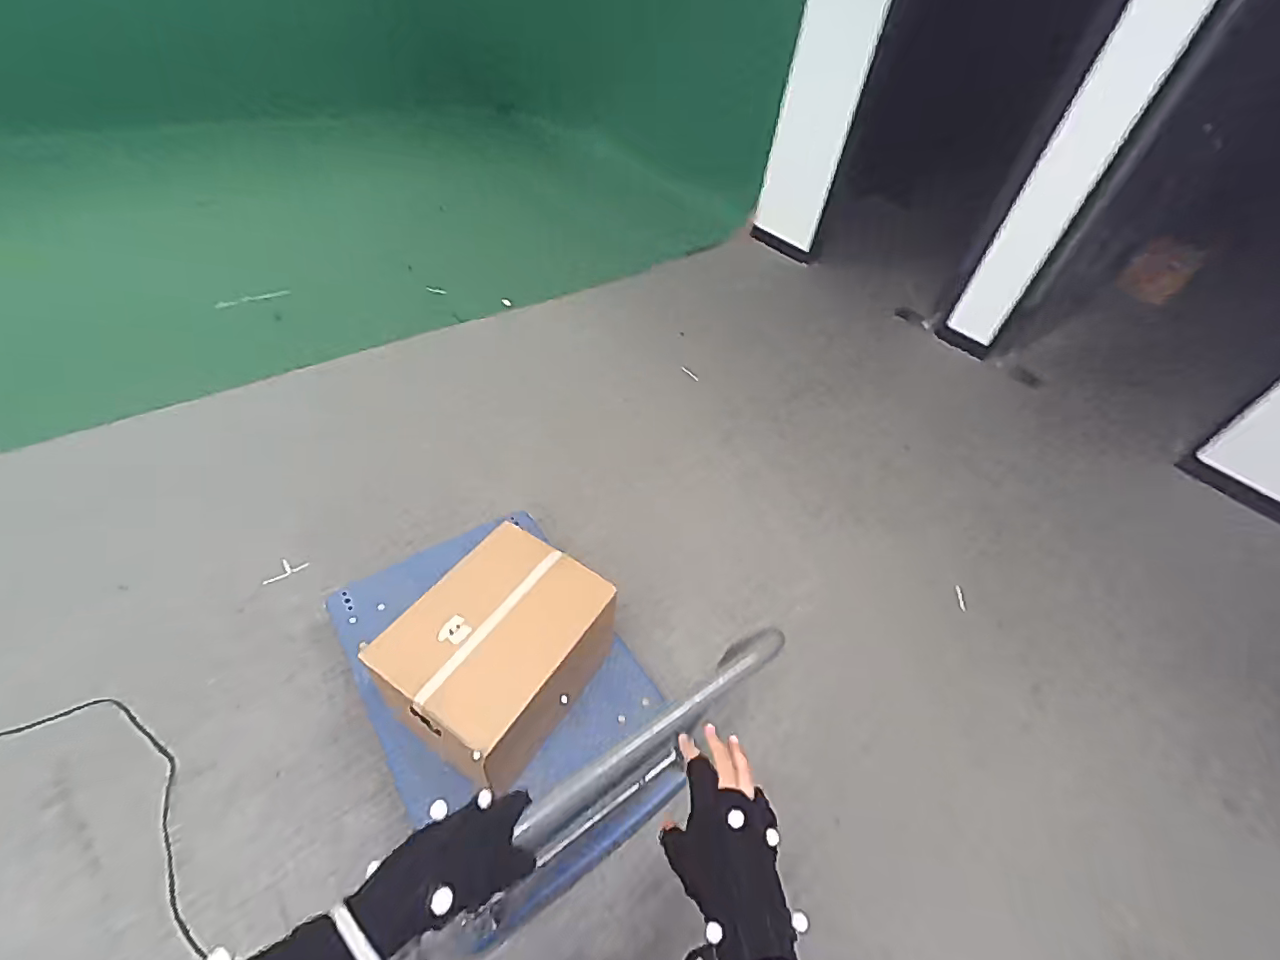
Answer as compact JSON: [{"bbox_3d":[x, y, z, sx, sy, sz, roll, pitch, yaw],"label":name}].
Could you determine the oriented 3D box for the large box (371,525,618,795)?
[{"bbox_3d":[-0.288,0.385,1.190,0.320,0.320,0.408,28,50,18],"label":"large box"}]
